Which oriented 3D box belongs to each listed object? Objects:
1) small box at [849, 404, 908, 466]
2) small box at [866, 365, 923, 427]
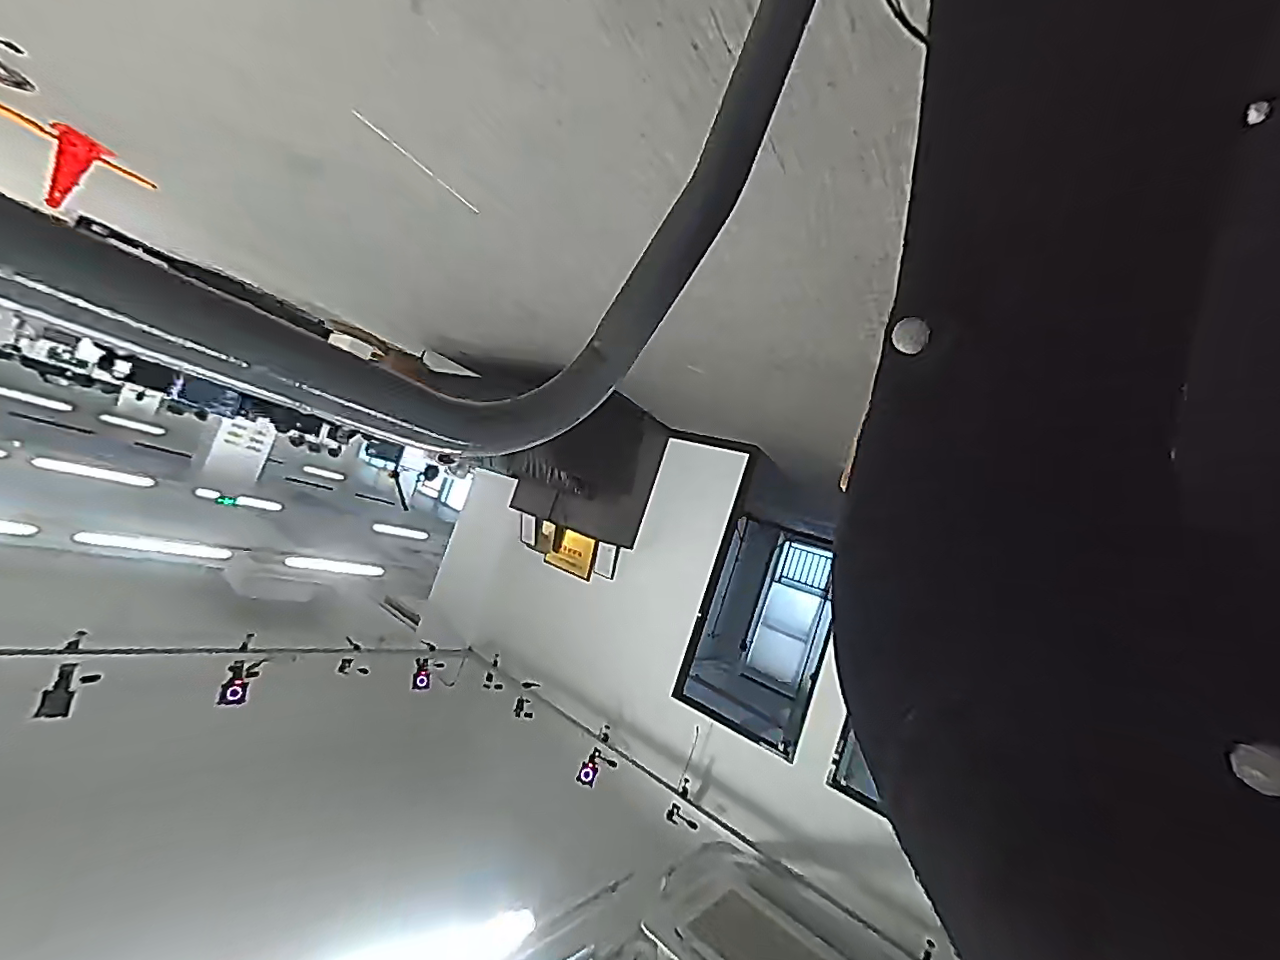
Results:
[{"bbox_3d":[0.917,-0.172,2.072,0.168,0.176,0.179,17,174,29],"label":"small box"},{"bbox_3d":[0.974,-0.322,2.079,0.168,0.176,0.179,15,173,24],"label":"small box"}]
